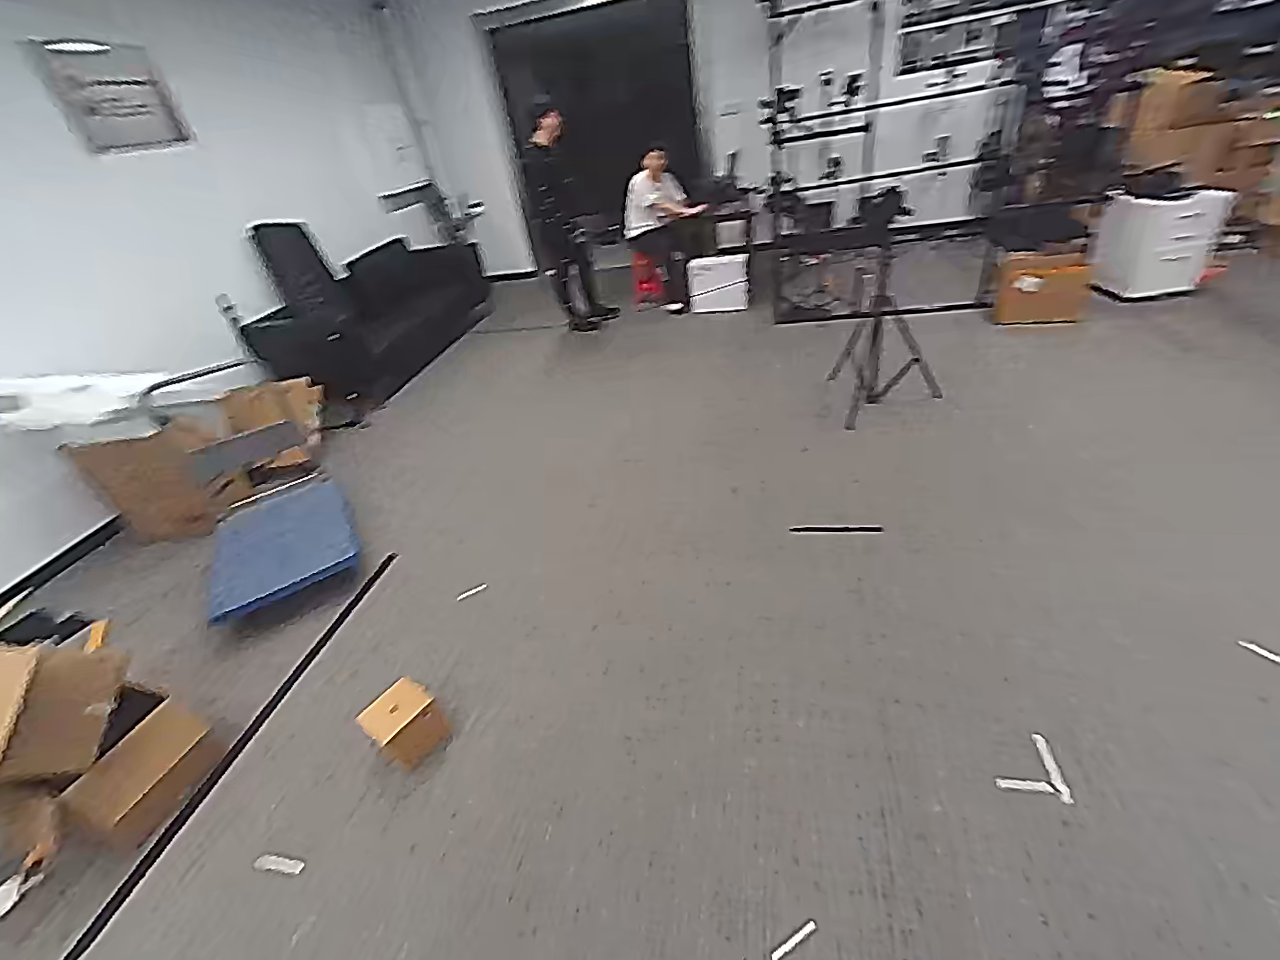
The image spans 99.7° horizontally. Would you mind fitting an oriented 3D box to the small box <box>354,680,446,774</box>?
[{"bbox_3d":[-0.739,0.769,1.682,0.168,0.176,0.179,15,41,34],"label":"small box"}]
